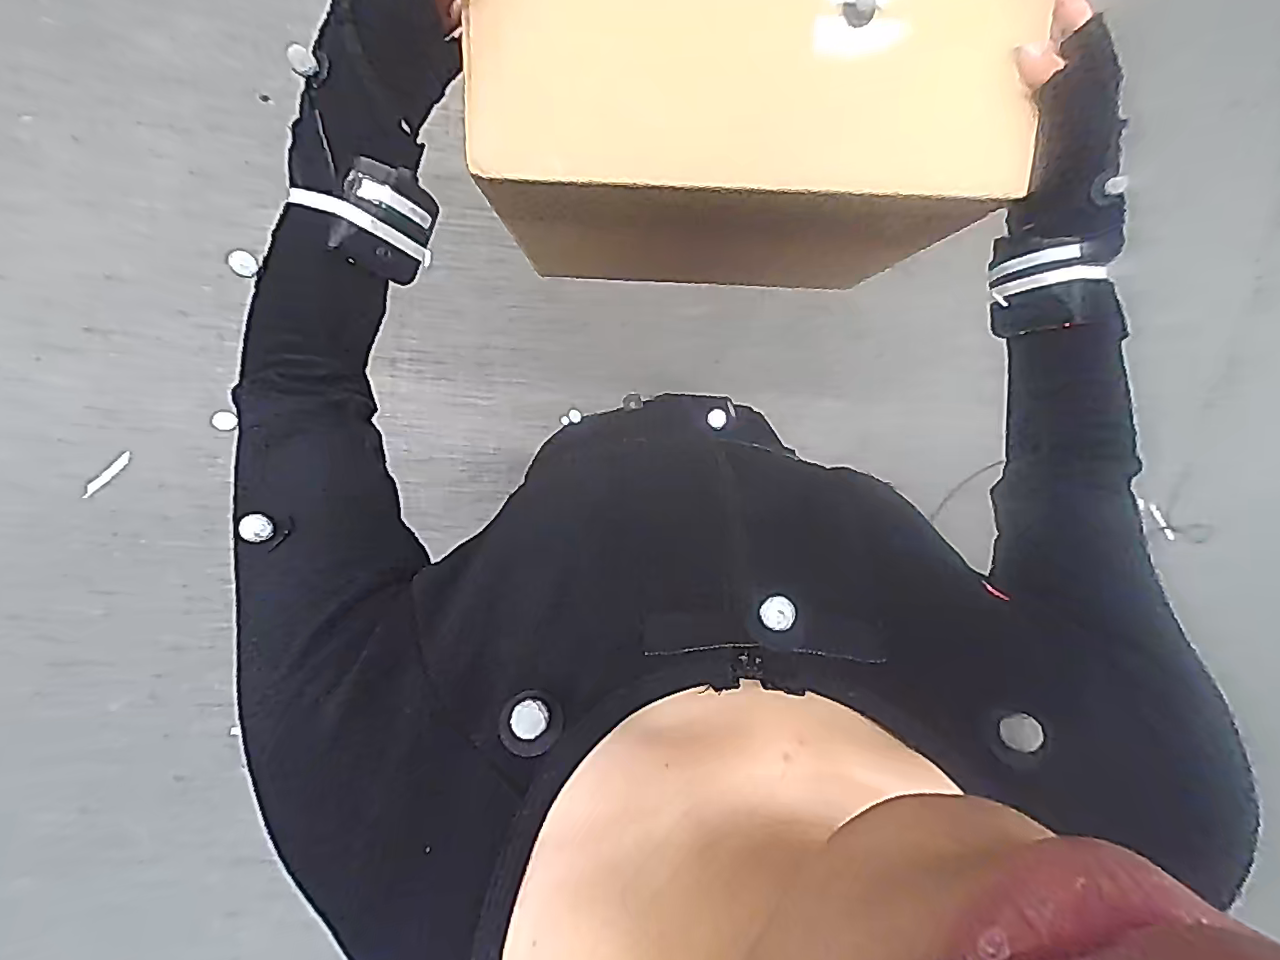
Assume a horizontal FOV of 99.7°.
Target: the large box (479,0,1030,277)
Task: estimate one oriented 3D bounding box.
[{"bbox_3d":[0.077,-0.394,0.527,0.408,0.320,0.320,1,98,-3],"label":"large box"}]
